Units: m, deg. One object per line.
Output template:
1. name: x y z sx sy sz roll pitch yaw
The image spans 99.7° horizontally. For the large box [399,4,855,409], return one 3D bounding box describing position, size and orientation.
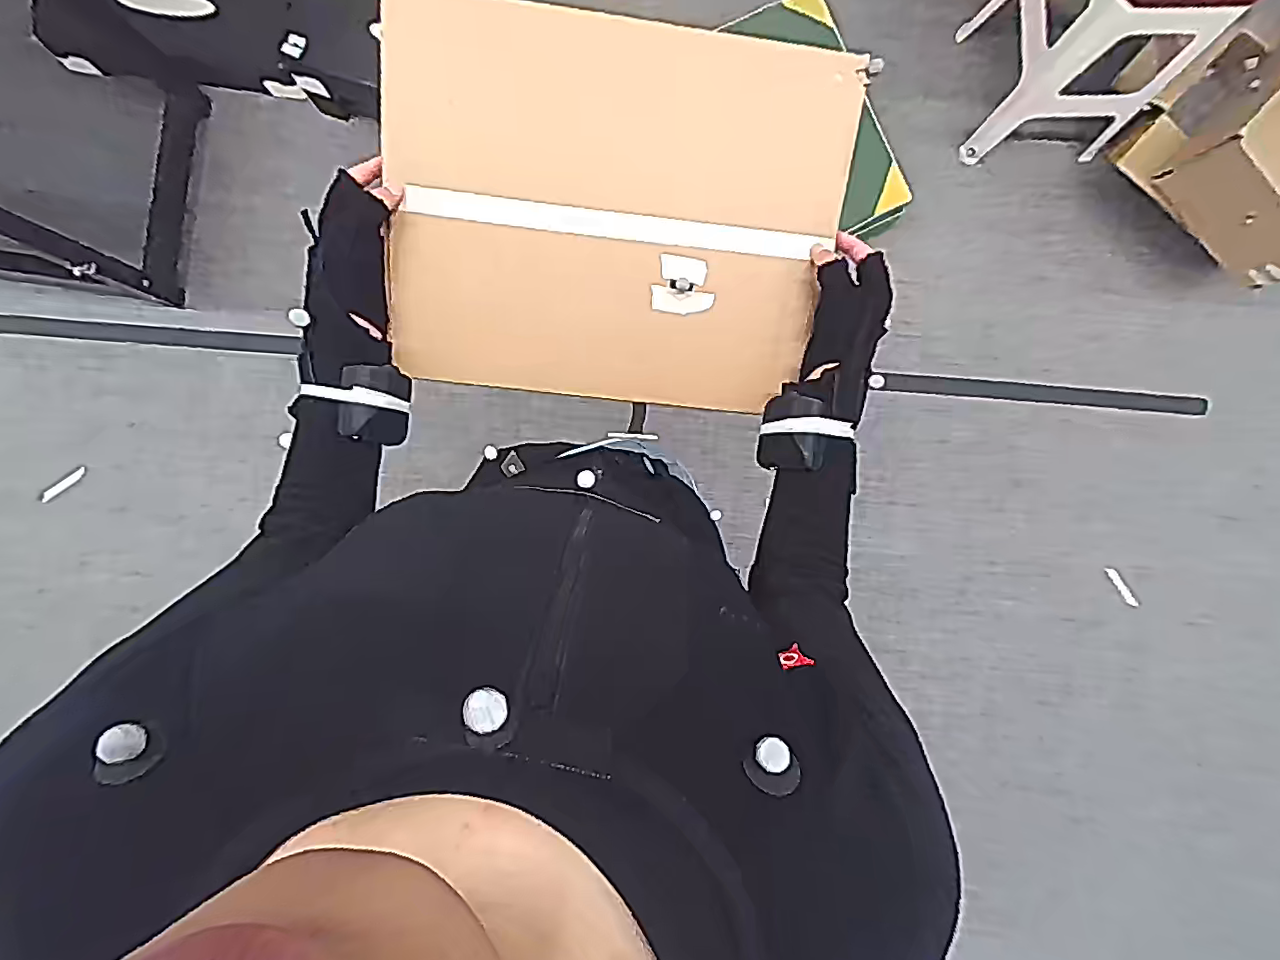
1. large box: -0.029 -0.275 0.646 0.408 0.320 0.320 5 107 -5
